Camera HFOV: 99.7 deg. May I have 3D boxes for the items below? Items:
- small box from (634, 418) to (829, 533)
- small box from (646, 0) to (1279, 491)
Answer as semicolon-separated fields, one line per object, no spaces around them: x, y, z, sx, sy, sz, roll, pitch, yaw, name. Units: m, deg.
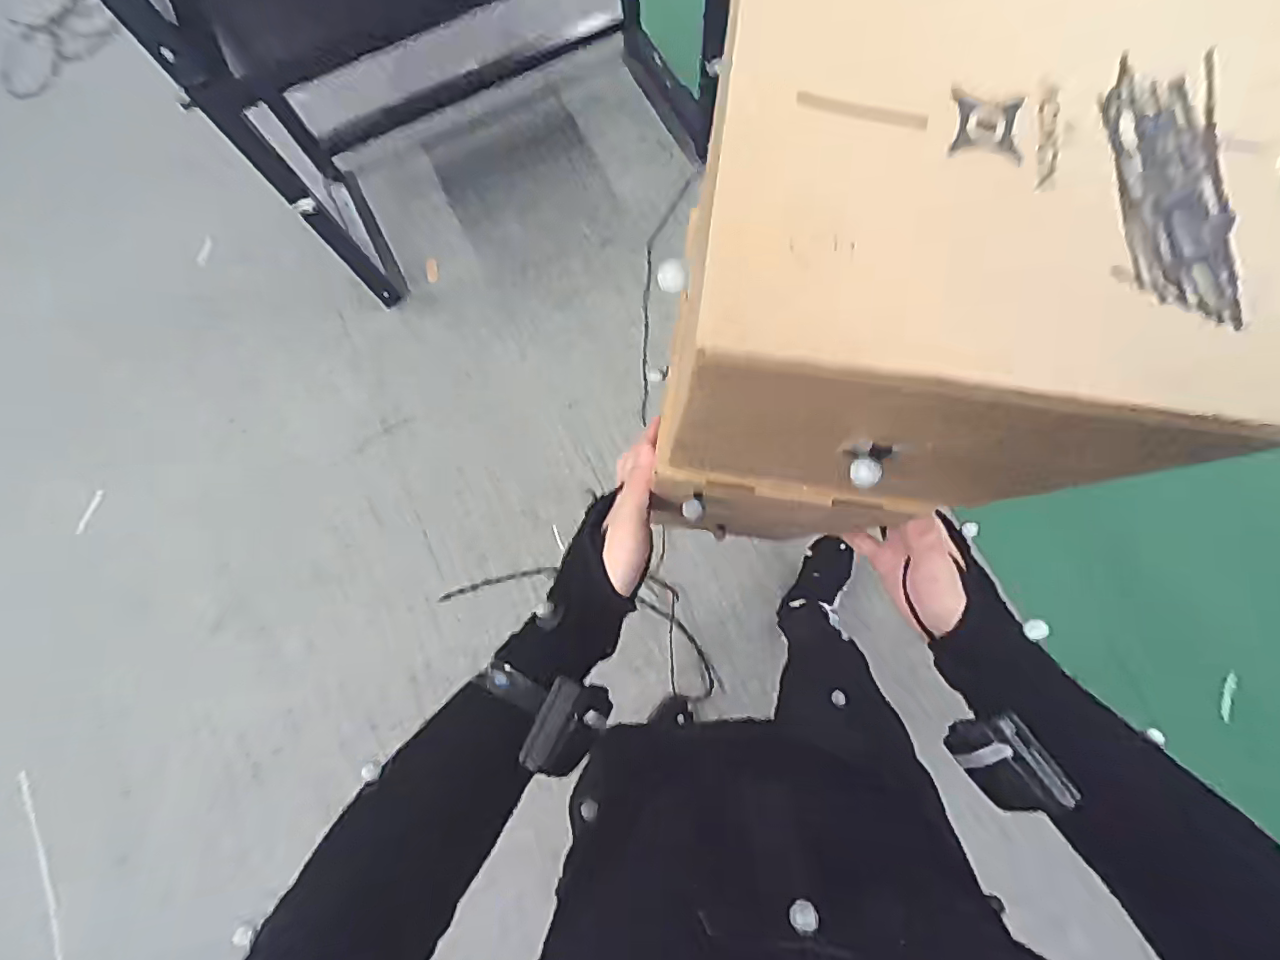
0.091;-0.046;0.550;0.168;0.176;0.179;10;80;1;small box
0.102;-0.094;0.224;0.179;0.176;0.168;10;81;2;small box
